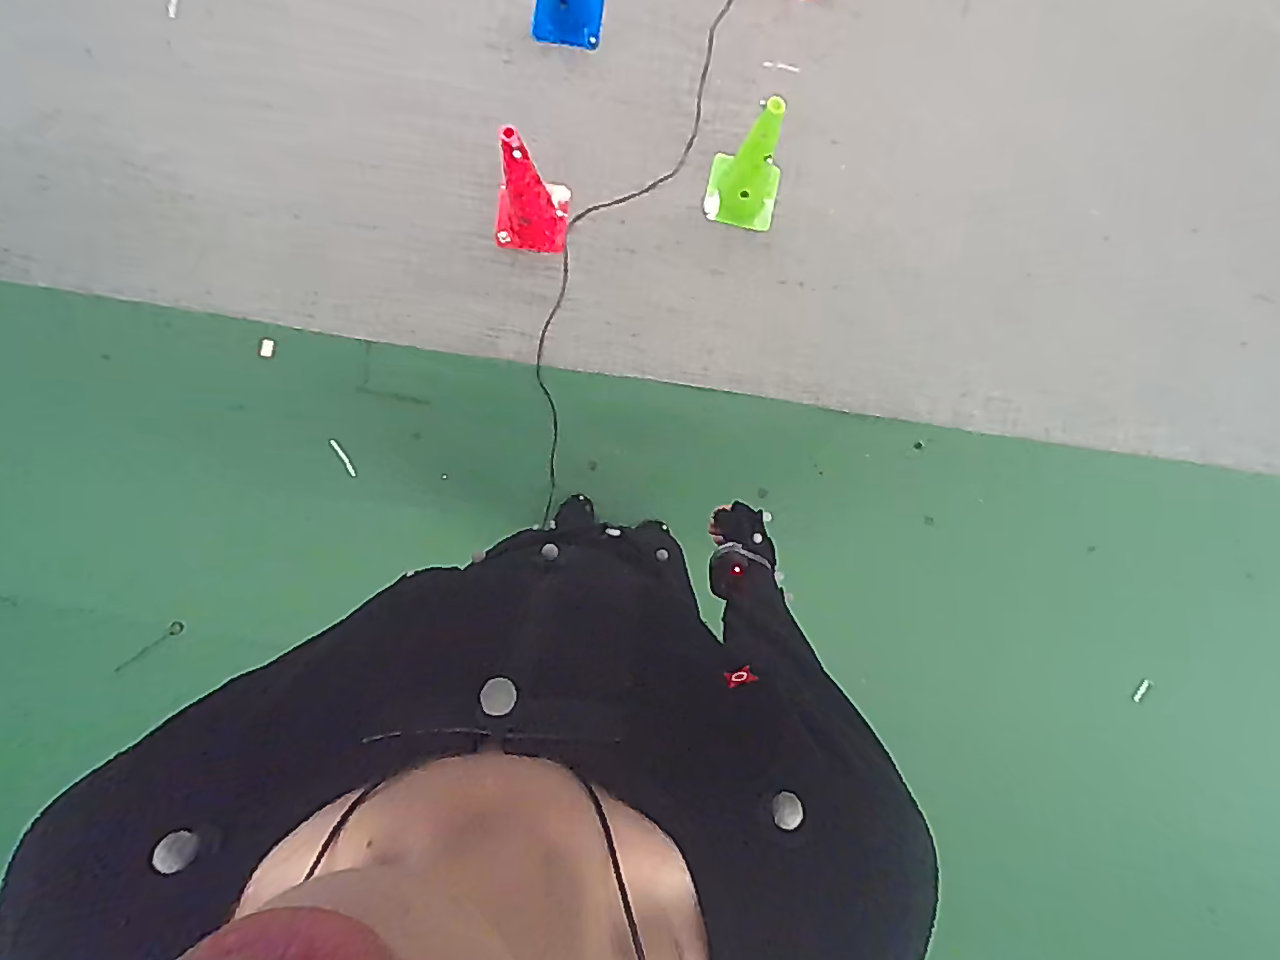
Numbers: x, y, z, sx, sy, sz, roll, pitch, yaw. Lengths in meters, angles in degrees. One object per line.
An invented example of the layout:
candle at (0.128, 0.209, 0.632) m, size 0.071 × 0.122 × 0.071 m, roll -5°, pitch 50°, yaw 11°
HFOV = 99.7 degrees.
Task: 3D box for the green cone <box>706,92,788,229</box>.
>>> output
green cone at (0.311, -0.848, 1.404) m, size 0.200 × 0.368 × 0.202 m, roll 11°, pitch 86°, yaw -2°
